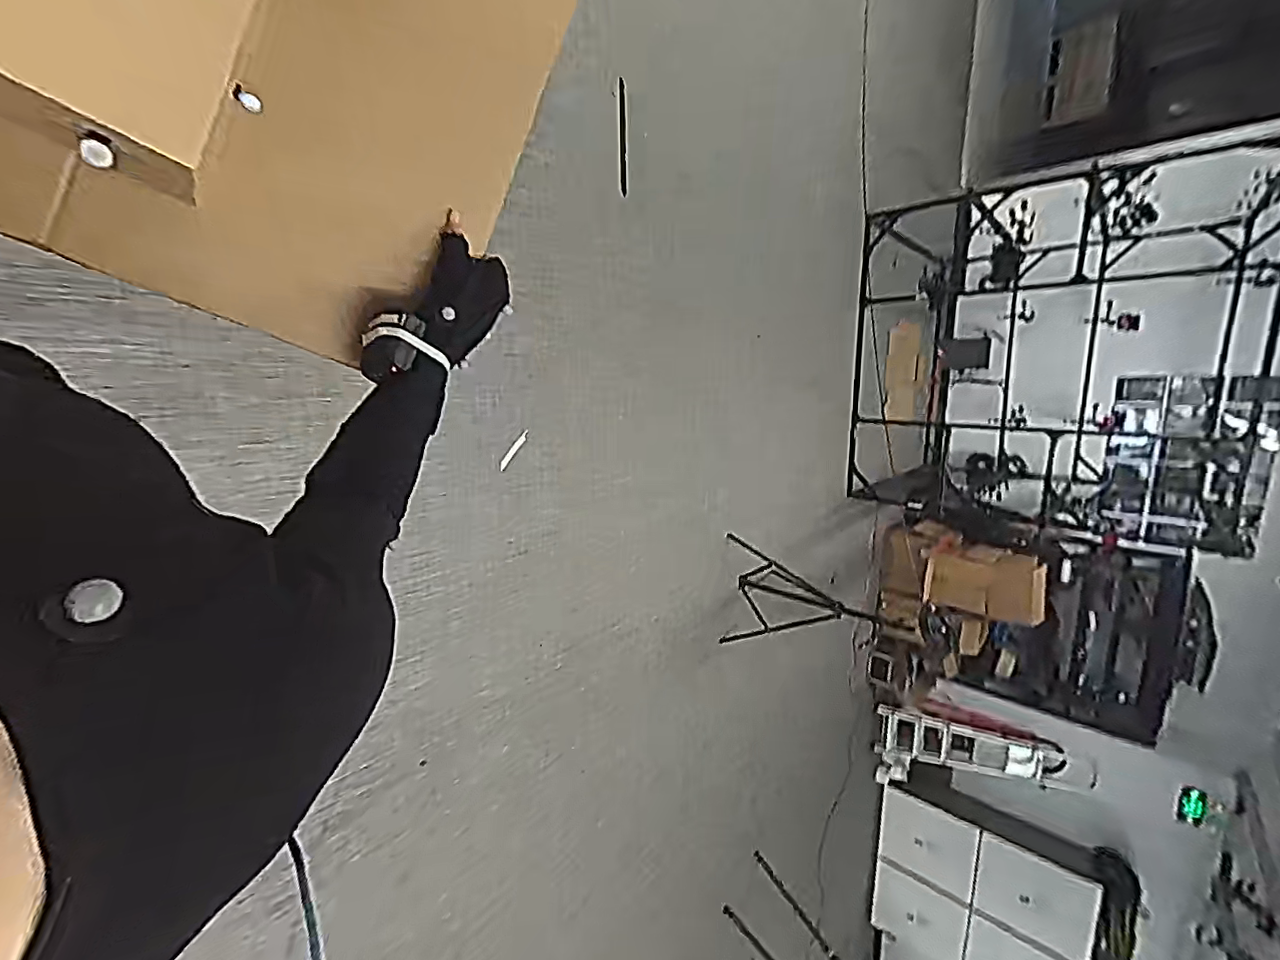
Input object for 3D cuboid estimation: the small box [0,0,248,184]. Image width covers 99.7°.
[{"bbox_3d":[-0.358,-0.307,0.324,0.179,0.176,0.168,19,92,-41],"label":"small box"}]
